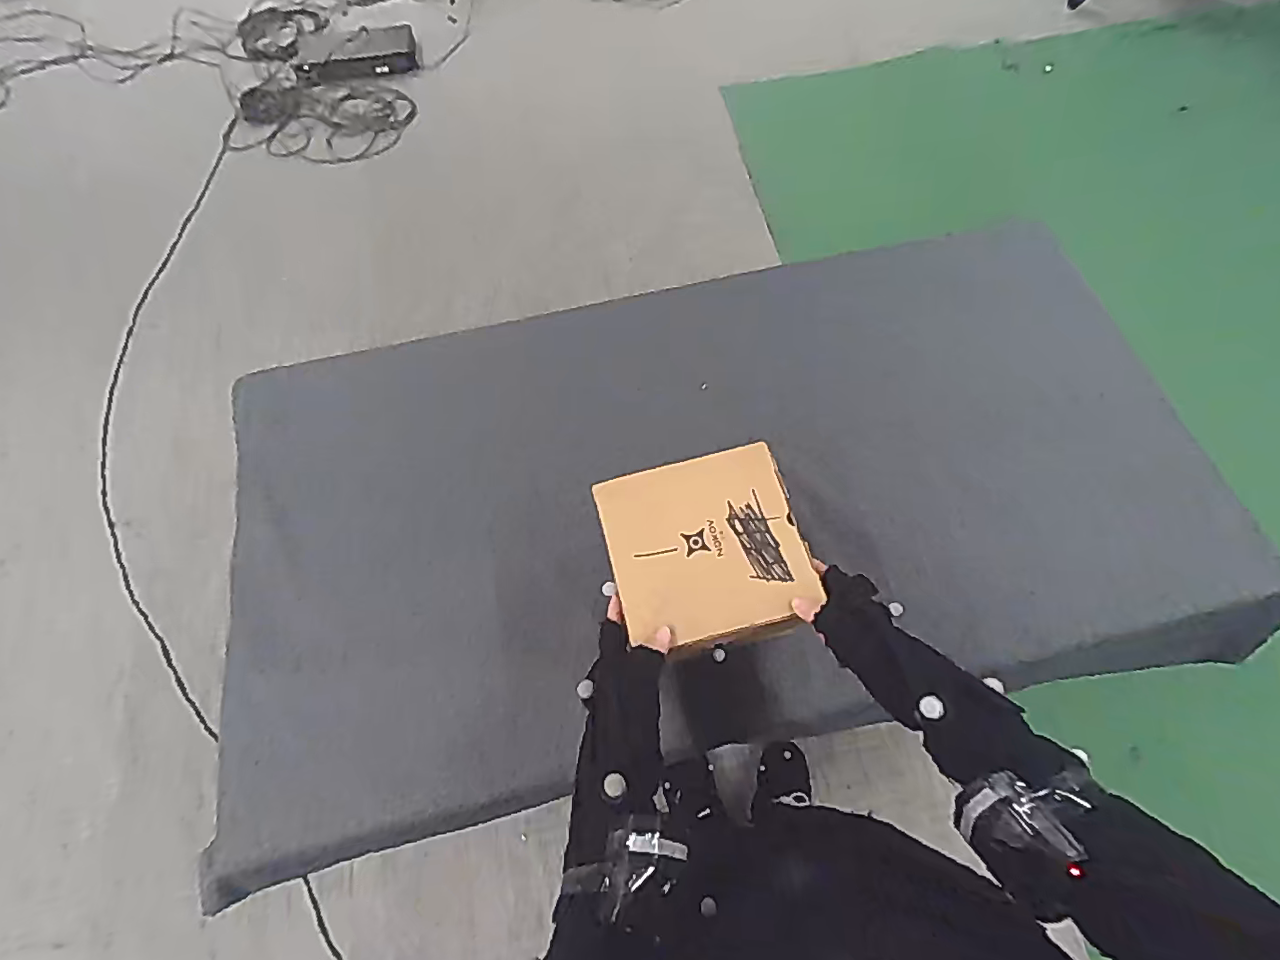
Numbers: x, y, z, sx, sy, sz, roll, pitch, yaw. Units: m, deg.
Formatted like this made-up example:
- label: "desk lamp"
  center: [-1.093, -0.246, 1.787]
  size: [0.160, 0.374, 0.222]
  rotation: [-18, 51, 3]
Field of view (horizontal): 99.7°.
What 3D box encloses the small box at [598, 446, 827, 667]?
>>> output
- label: "small box"
  center: [0.063, 0.088, 0.563]
  size: [0.179, 0.176, 0.168]
  rotation: [-14, 67, -4]
